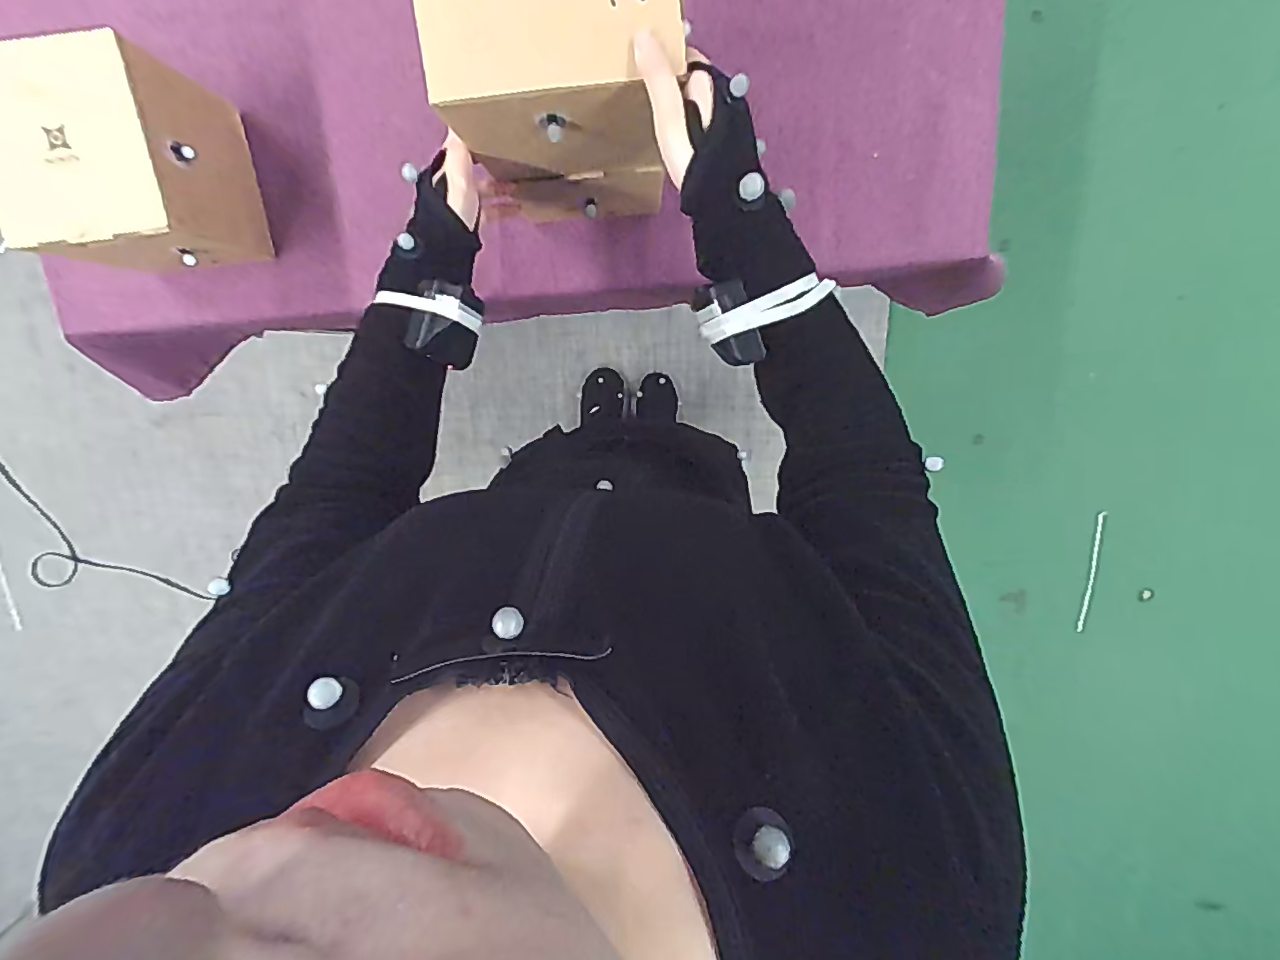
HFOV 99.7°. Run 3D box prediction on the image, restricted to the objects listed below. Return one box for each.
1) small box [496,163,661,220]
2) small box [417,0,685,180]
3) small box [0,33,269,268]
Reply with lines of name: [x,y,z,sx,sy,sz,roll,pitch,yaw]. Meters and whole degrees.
small box: [-0.064,-0.392,0.585,0.168,0.176,0.179,-4,104,0]
small box: [-0.060,-0.352,0.424,0.179,0.176,0.168,-5,104,1]
small box: [-0.551,-0.337,0.593,0.168,0.176,0.179,-6,103,0]
